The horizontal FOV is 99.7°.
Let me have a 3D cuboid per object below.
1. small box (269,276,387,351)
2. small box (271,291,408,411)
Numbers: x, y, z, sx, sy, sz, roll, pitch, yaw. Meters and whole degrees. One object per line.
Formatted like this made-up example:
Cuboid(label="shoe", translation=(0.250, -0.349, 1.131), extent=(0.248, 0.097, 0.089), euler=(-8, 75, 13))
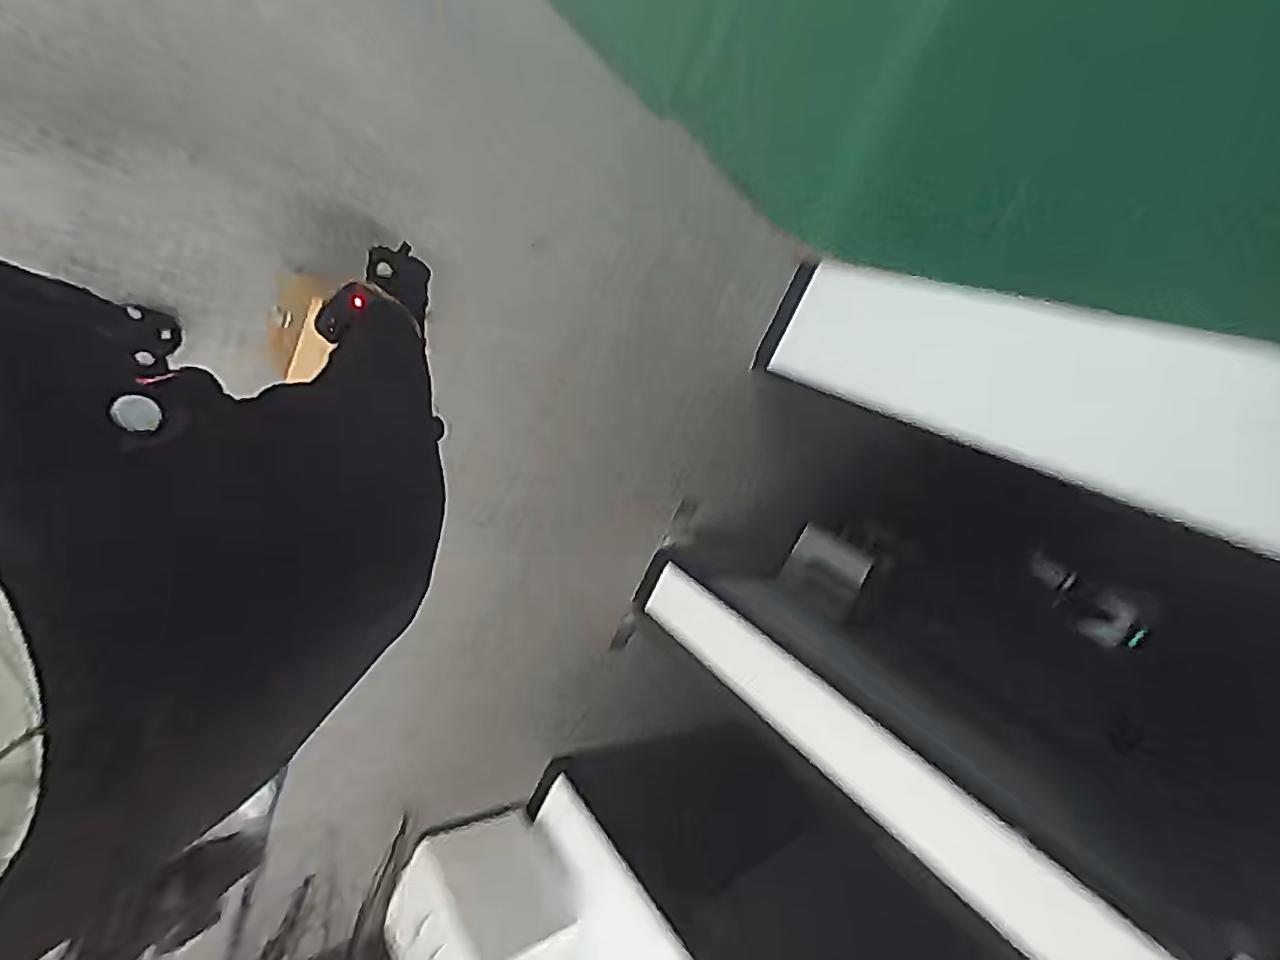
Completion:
Cuboid(label="small box", translation=(-0.690, -0.321, 1.188), extent=(0.168, 0.176, 0.179), euler=(15, 104, -48))
Cuboid(label="small box", translation=(-0.597, -0.257, 1.070), extent=(0.179, 0.176, 0.168), euler=(14, 102, -47))
